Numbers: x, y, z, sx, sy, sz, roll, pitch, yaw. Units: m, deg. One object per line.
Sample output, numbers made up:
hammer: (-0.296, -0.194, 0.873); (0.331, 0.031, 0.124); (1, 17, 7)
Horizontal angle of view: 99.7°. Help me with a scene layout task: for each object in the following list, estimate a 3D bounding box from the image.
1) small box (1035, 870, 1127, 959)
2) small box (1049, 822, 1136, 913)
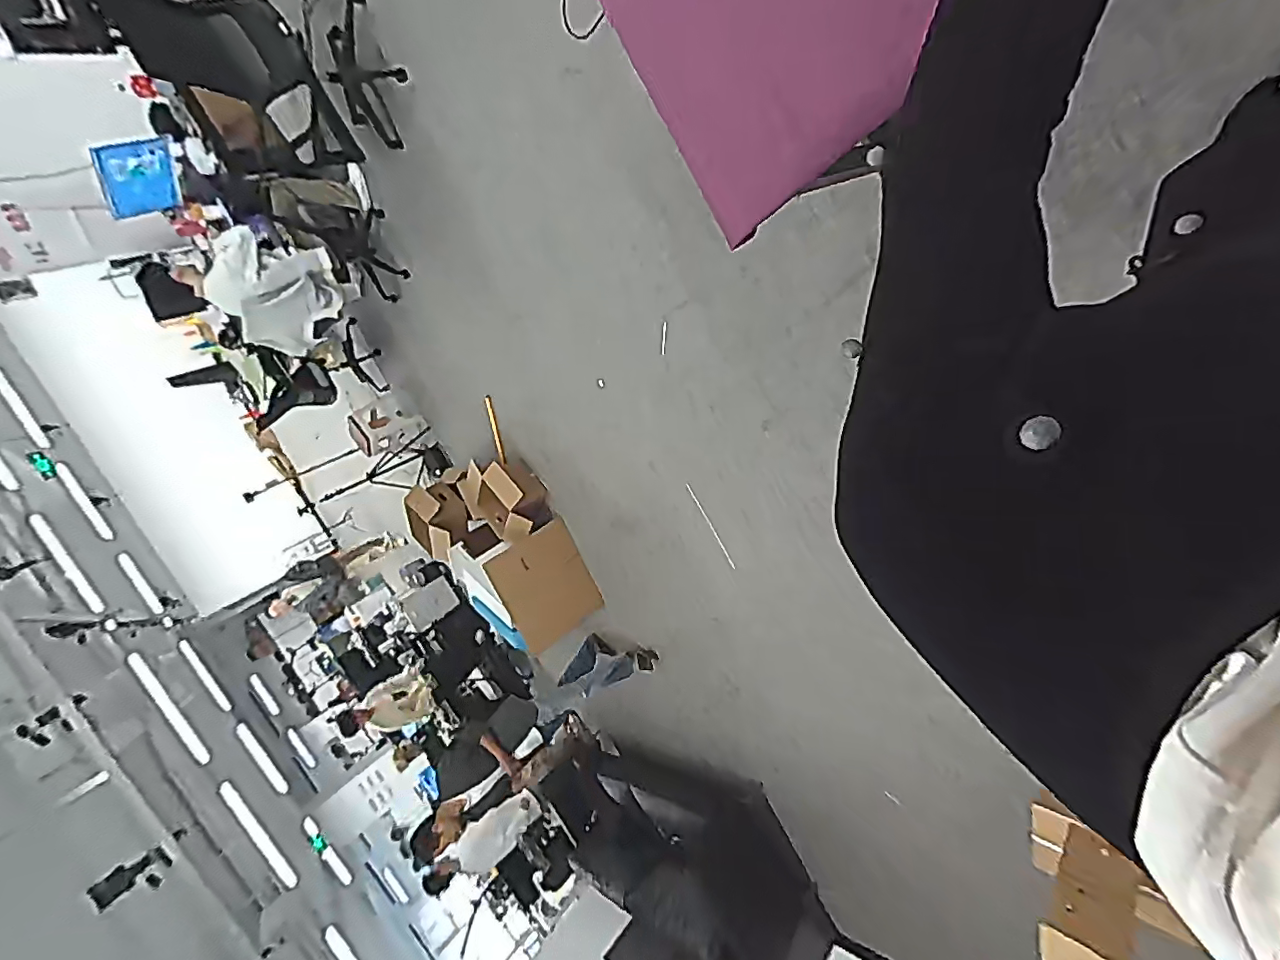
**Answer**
small box: (1.157, 1.188, 1.420); (0.168, 0.176, 0.179); (8, 122, 47)
small box: (1.268, 1.122, 1.520); (0.168, 0.176, 0.179); (9, 122, 45)
